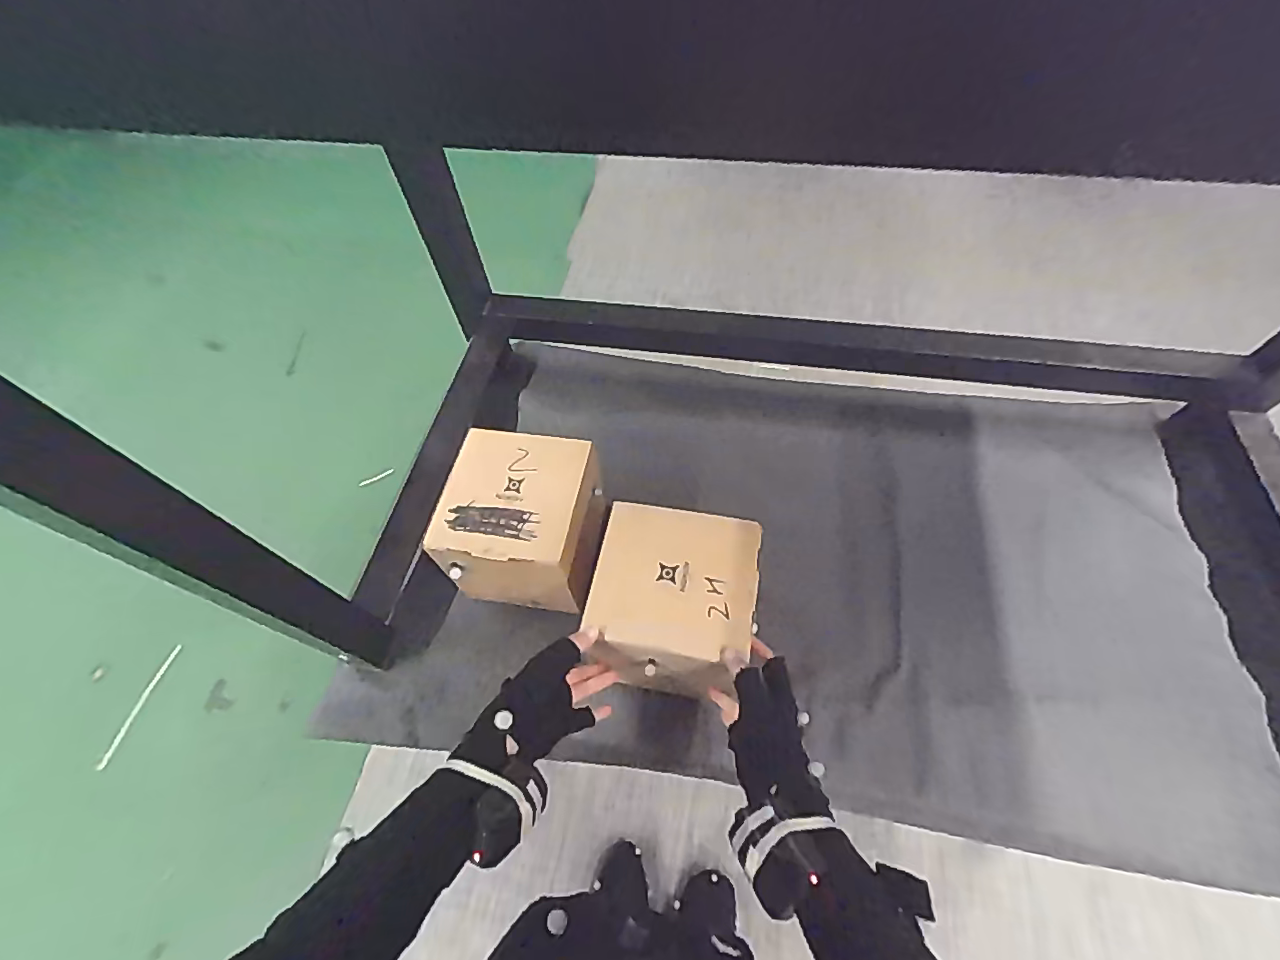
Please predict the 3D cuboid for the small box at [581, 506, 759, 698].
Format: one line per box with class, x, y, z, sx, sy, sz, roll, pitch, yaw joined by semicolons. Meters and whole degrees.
small box;0.040;0.154;0.660;0.179;0.176;0.168;9;57;8
